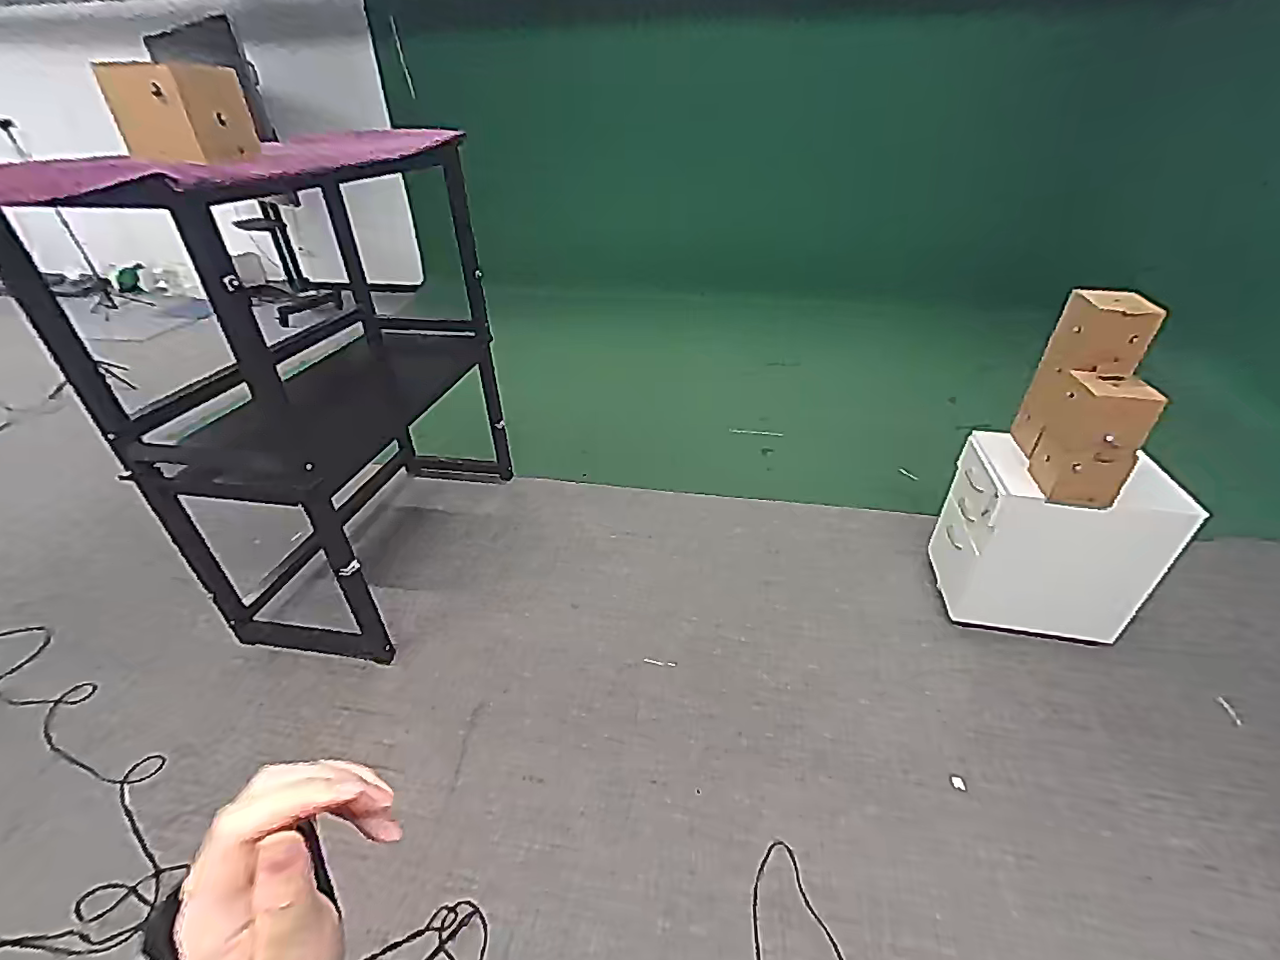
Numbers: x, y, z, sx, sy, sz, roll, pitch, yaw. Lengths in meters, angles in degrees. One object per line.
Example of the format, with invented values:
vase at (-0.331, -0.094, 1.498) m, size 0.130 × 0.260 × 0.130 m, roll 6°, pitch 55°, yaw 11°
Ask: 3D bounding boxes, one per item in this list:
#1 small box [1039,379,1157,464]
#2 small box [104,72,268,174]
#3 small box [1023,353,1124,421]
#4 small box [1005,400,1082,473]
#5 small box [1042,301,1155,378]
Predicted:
small box at (1.262, -0.165, 1.510) m, size 0.168 × 0.176 × 0.179 m, roll 7°, pitch 34°, yaw 10°
small box at (-0.944, -0.752, 1.146) m, size 0.179 × 0.176 × 0.168 m, roll 5°, pitch 33°, yaw 7°
small box at (1.341, -0.282, 1.688) m, size 0.168 × 0.176 × 0.179 m, roll 7°, pitch 37°, yaw 10°
small box at (1.344, -0.146, 1.781) m, size 0.168 × 0.176 × 0.179 m, roll 6°, pitch 36°, yaw 9°
small box at (1.339, -0.414, 1.594) m, size 0.168 × 0.176 × 0.179 m, roll 7°, pitch 36°, yaw 8°
